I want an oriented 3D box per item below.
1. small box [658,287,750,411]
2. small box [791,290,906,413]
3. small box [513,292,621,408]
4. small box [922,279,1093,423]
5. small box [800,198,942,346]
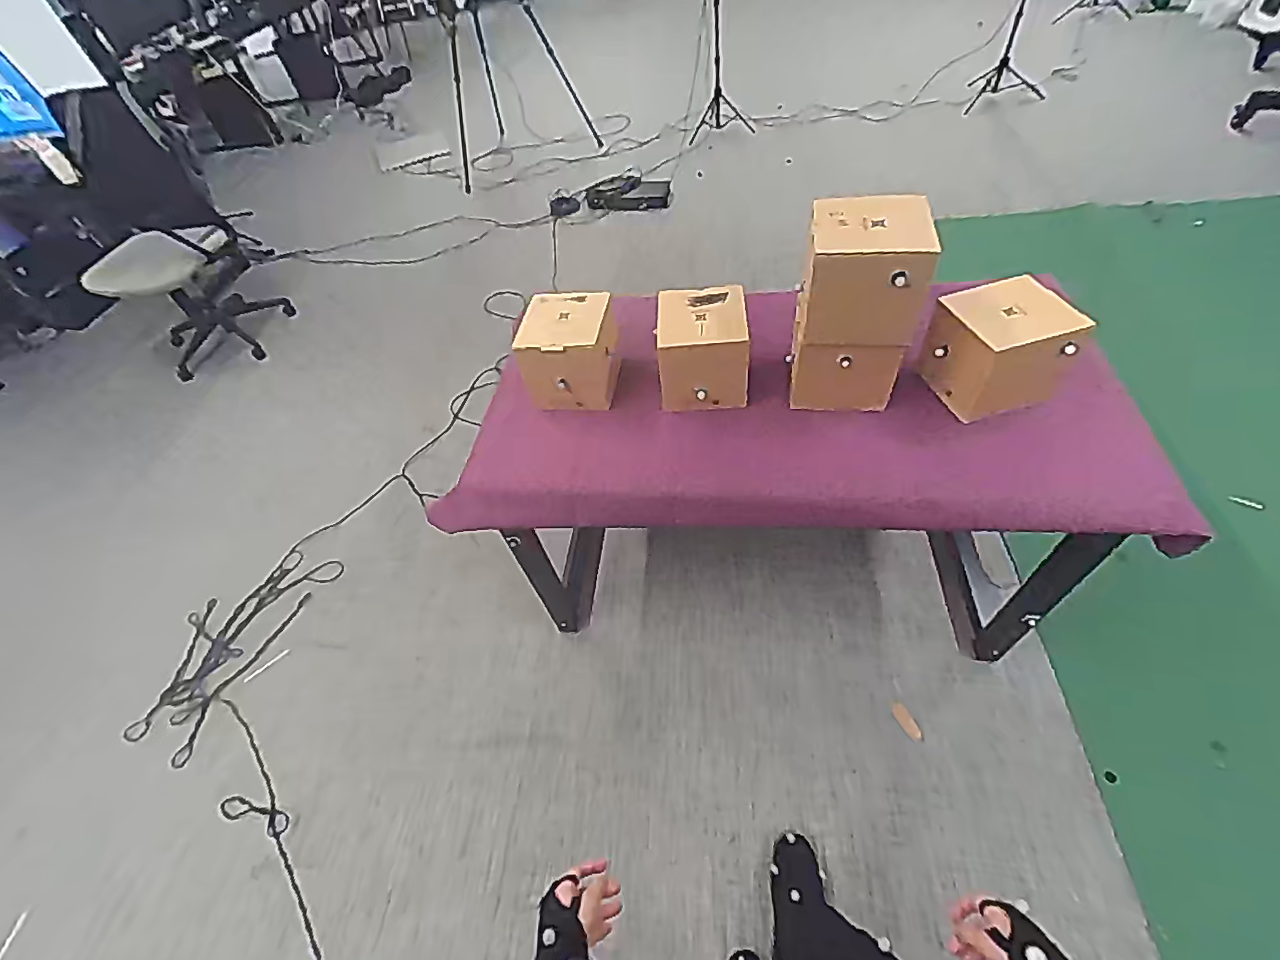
[{"bbox_3d":[0.126,-0.255,1.066,0.168,0.176,0.179,-2,52,7],"label":"small box"},{"bbox_3d":[0.381,-0.241,1.017,0.179,0.176,0.168,4,53,12],"label":"small box"},{"bbox_3d":[-0.139,-0.263,1.112,0.168,0.176,0.179,3,53,10],"label":"small box"},{"bbox_3d":[0.634,-0.225,0.967,0.179,0.176,0.168,-14,50,-3],"label":"small box"},{"bbox_3d":[0.365,-0.336,0.884,0.179,0.176,0.168,5,52,12],"label":"small box"}]
